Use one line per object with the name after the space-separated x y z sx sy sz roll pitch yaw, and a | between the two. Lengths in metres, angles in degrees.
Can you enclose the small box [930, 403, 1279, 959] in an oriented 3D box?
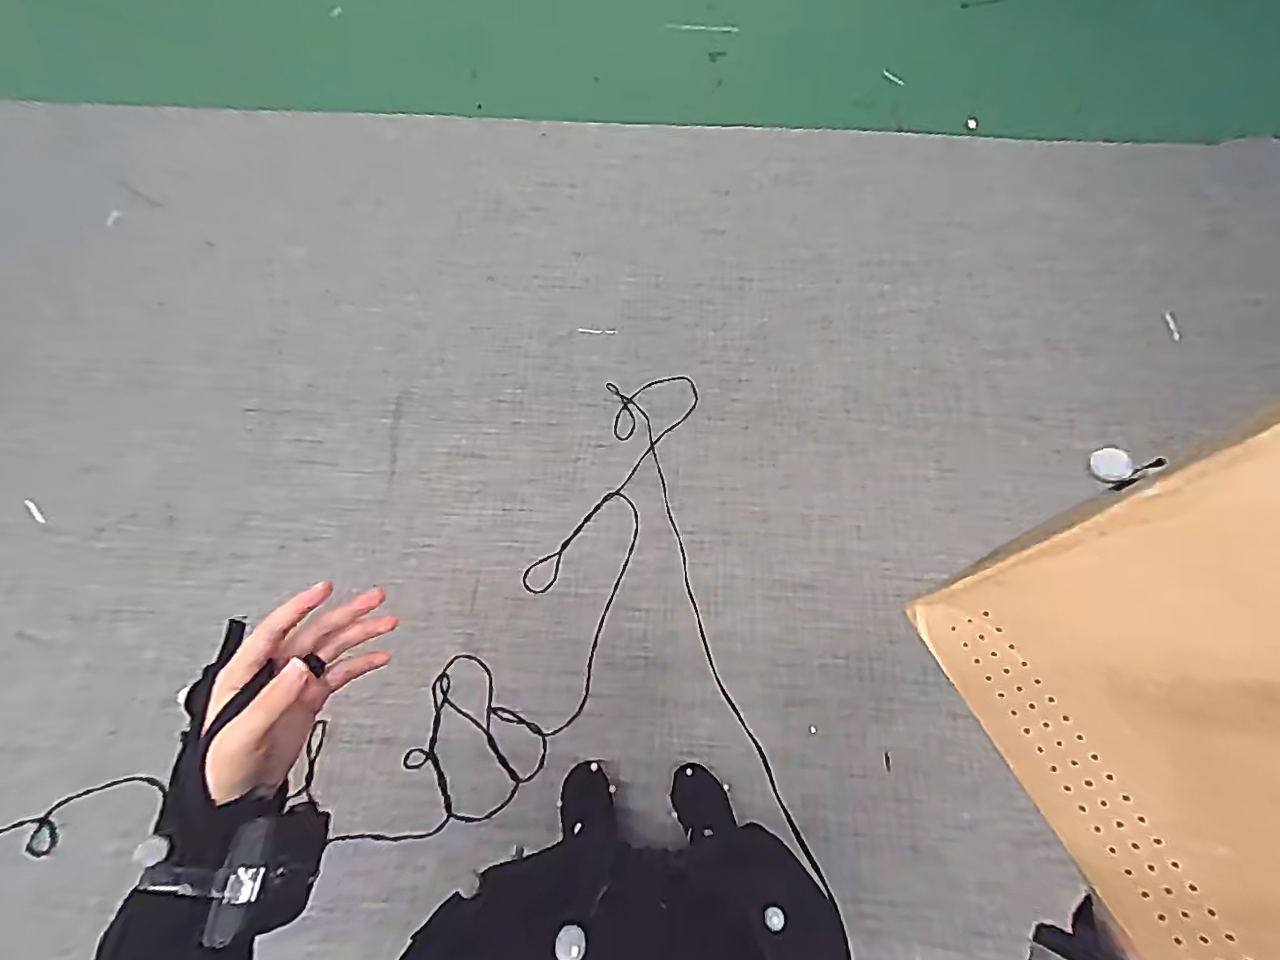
0.247 0.074 0.193 0.168 0.176 0.179 -8 59 -43 | small box
